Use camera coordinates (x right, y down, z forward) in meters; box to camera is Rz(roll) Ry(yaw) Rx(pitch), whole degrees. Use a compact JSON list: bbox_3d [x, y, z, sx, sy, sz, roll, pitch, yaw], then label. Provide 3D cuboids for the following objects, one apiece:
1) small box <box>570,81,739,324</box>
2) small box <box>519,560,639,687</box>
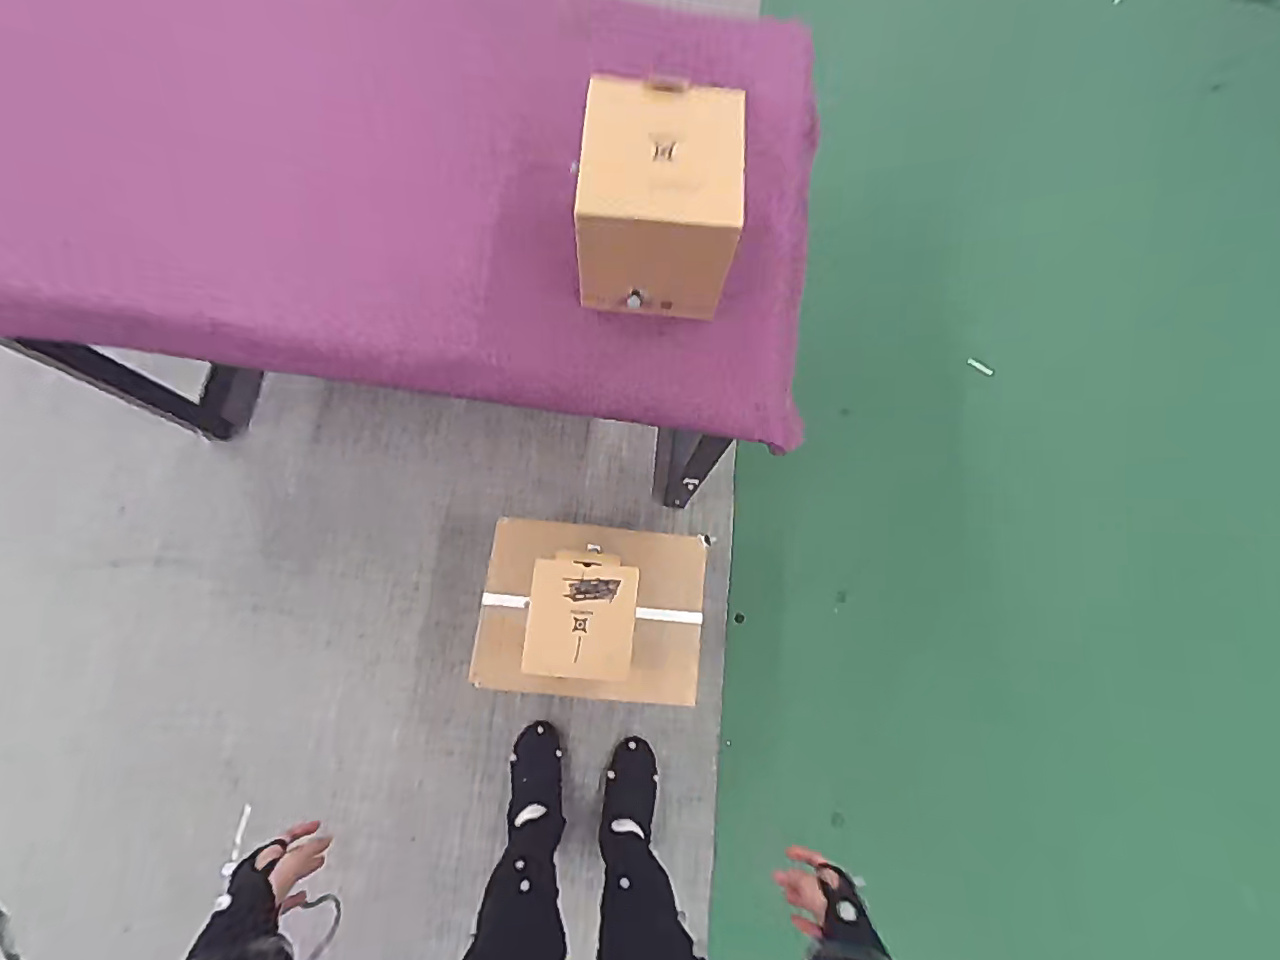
[{"bbox_3d":[0.014,-0.306,0.621,0.168,0.176,0.179,4,73,-2],"label":"small box"},{"bbox_3d":[-0.097,0.234,0.900,0.168,0.176,0.179,6,77,-2],"label":"small box"}]
